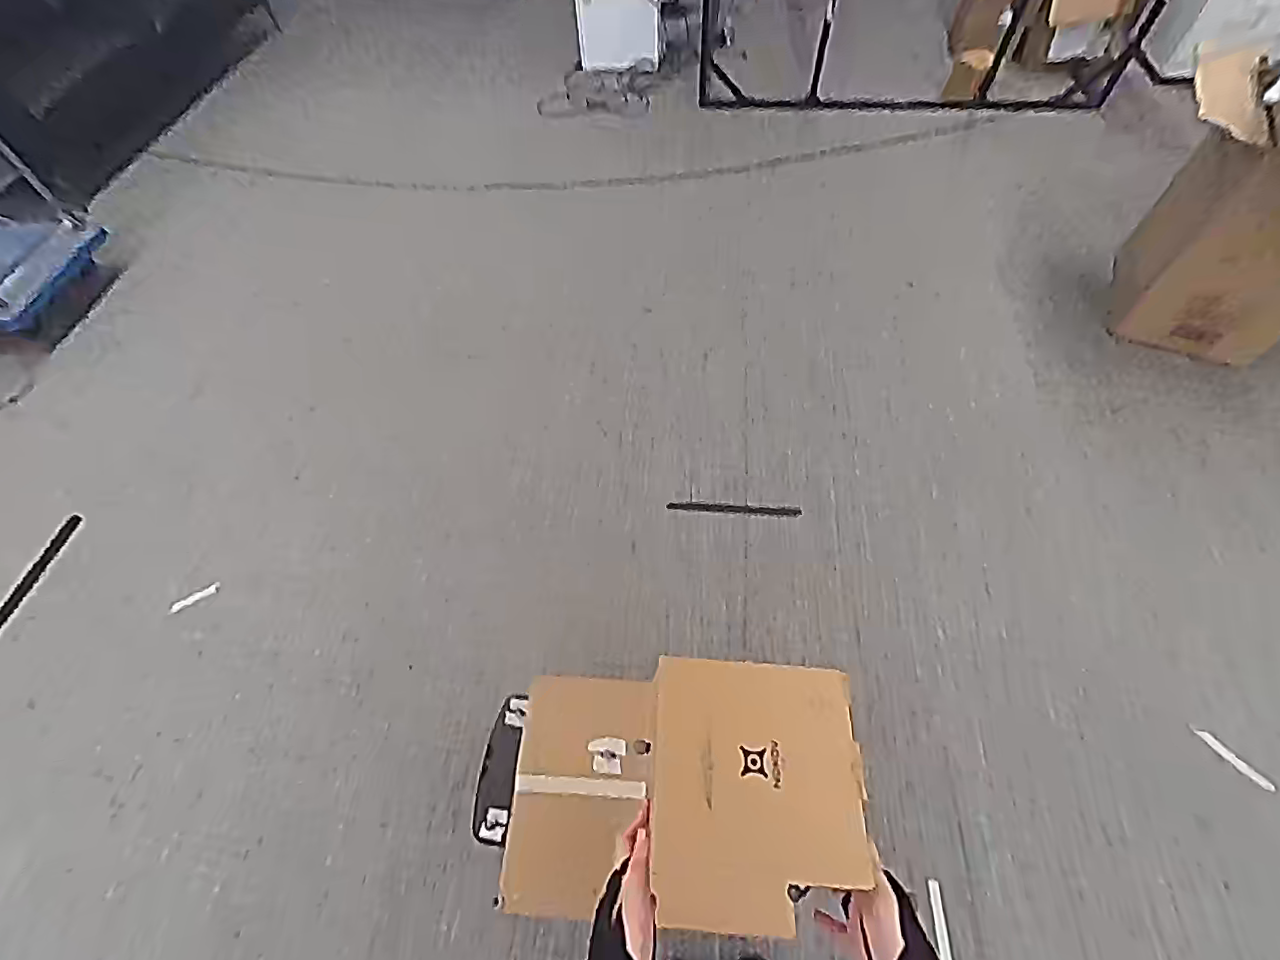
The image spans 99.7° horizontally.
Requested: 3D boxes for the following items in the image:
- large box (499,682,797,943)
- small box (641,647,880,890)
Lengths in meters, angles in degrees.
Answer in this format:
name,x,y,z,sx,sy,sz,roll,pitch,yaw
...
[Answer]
name,x,y,z,sx,sy,sz,roll,pitch,yaw
large box,0.025,0.542,0.917,0.408,0.320,0.320,1,57,5
small box,0.097,0.269,0.511,0.179,0.176,0.168,5,57,1
